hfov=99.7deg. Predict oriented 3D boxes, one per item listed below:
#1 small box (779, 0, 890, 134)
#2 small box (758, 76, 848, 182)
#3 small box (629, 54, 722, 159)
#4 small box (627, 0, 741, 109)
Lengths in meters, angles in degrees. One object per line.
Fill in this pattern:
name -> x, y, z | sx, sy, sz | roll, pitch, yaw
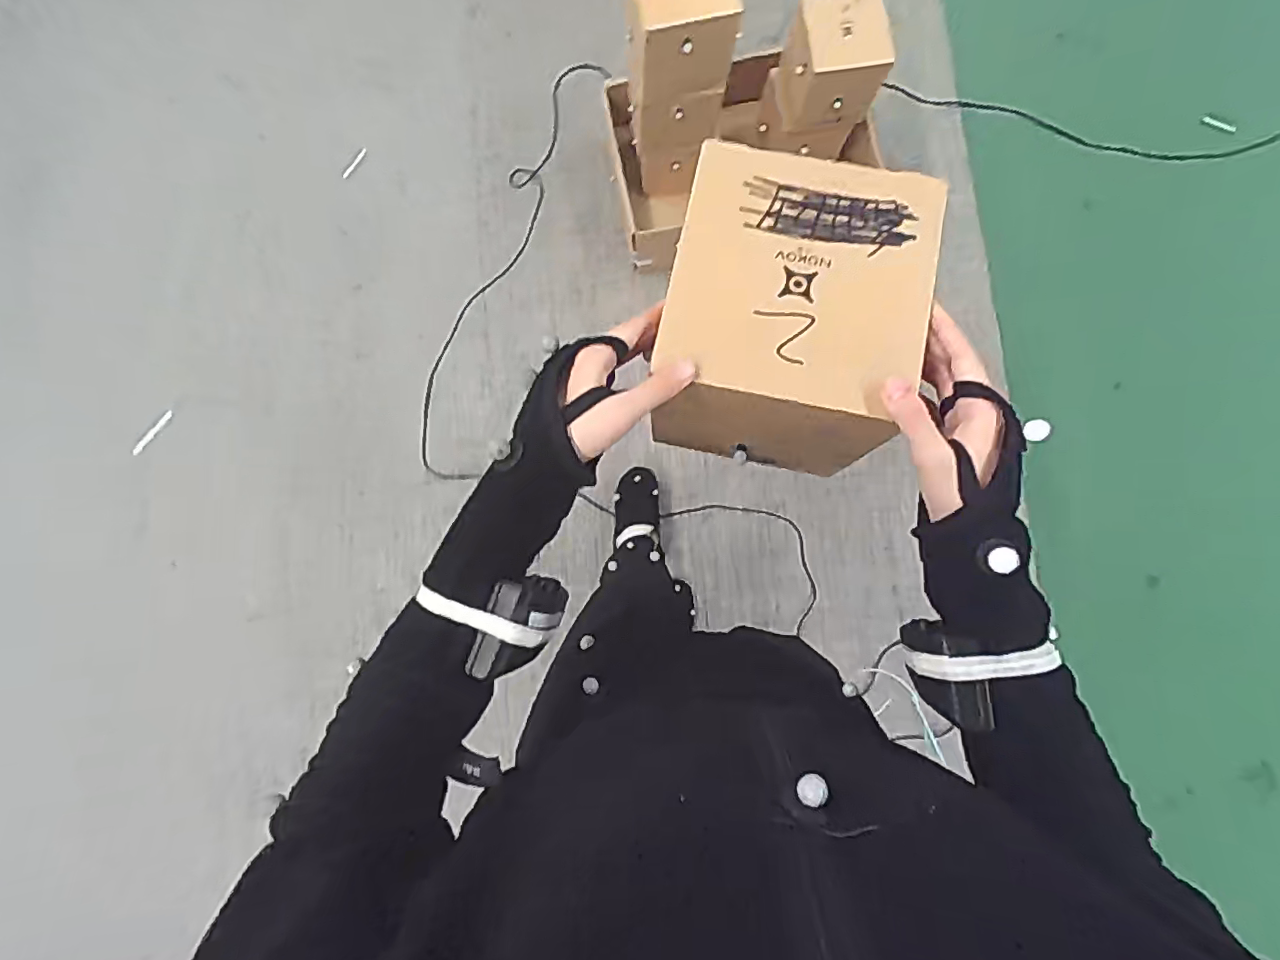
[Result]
small box -> 0.416, -0.891, 1.183 | 0.168, 0.176, 0.179 | -8, 84, -2
small box -> 0.401, -0.874, 1.347 | 0.179, 0.176, 0.168 | -8, 85, 0
small box -> 0.072, -0.831, 1.177 | 0.179, 0.176, 0.168 | -7, 86, -2
small box -> 0.074, -0.845, 1.016 | 0.179, 0.176, 0.168 | -13, 86, -1
